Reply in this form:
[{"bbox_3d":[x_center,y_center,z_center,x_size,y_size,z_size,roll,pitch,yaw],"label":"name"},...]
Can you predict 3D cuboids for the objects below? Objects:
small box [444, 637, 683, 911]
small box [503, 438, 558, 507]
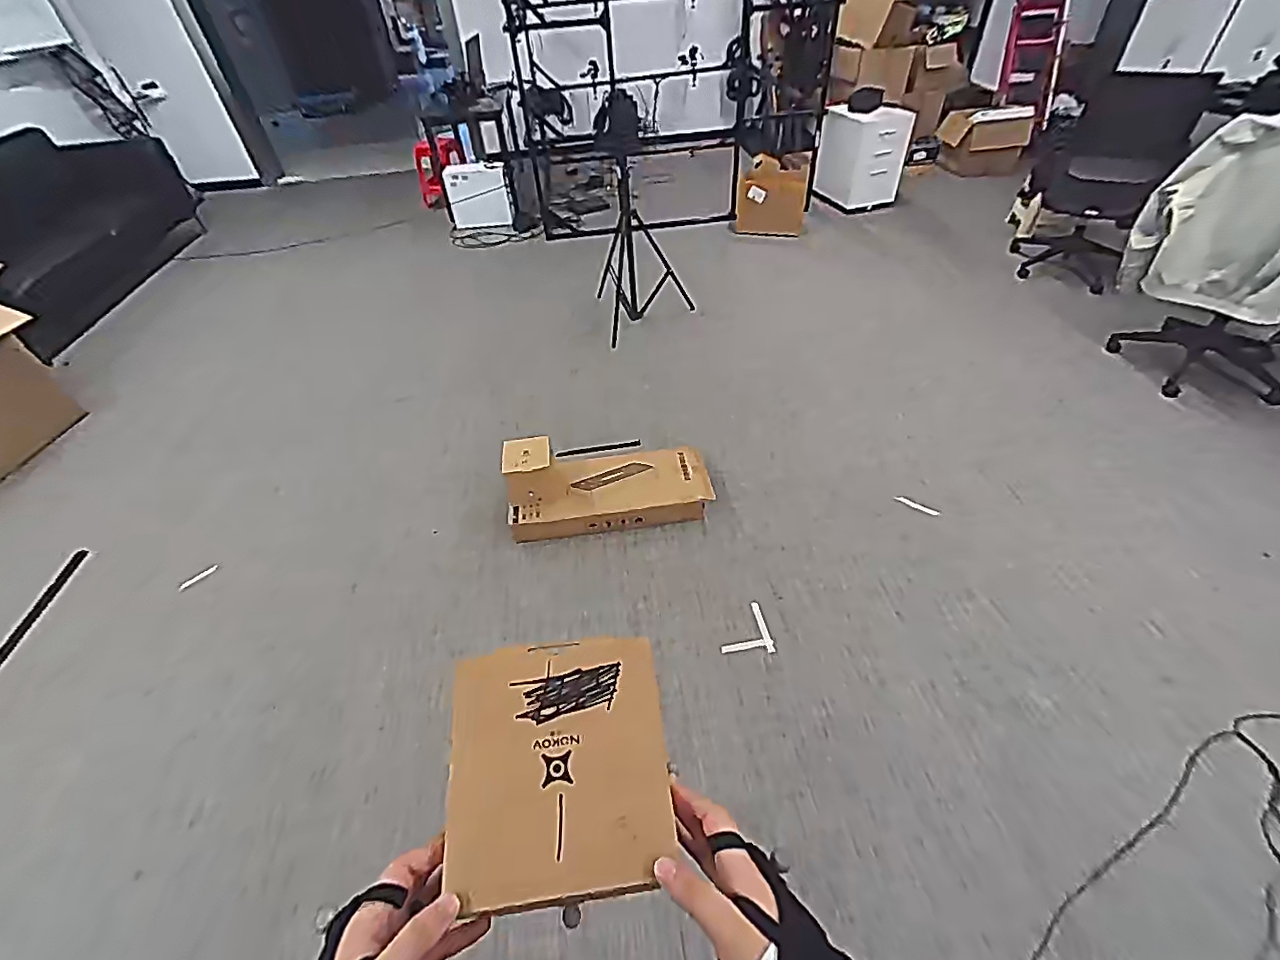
[{"bbox_3d":[-0.061,0.262,0.481,0.168,0.176,0.179,-6,52,-5],"label":"small box"},{"bbox_3d":[-0.393,-0.028,1.955,0.168,0.176,0.179,-8,44,-3],"label":"small box"}]
